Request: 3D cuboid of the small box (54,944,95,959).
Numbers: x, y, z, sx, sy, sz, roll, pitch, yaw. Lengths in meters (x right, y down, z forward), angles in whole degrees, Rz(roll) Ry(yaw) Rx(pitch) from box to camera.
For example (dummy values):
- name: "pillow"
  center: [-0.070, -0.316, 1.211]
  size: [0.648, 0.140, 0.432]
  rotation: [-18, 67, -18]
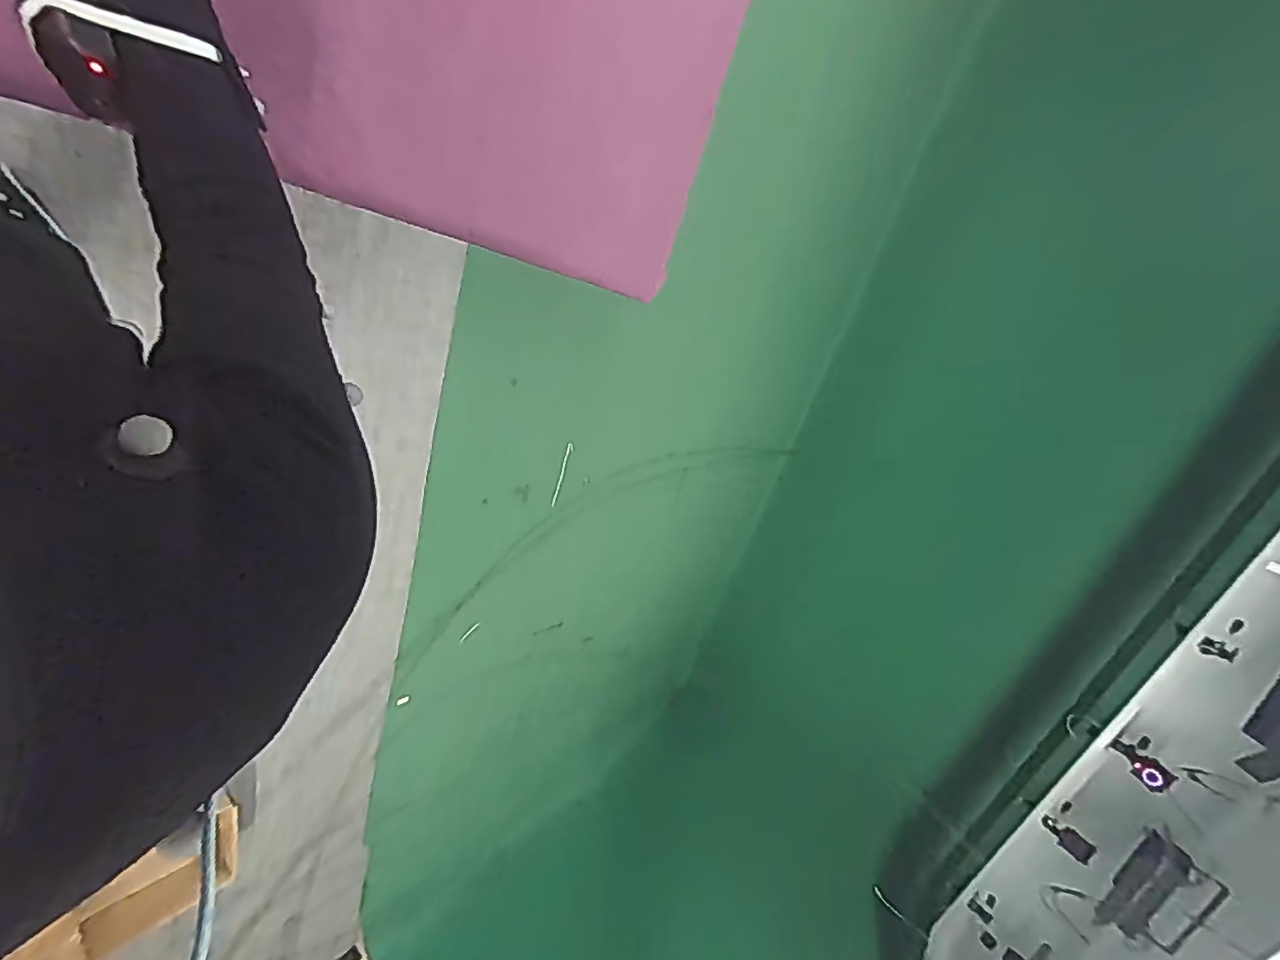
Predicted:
- name: "small box"
  center: [-1.484, 1.341, 1.370]
  size: [0.168, 0.176, 0.179]
  rotation: [-15, 129, -51]

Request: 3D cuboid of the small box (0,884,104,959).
- name: "small box"
  center: [-1.610, 1.255, 1.470]
  size: [0.168, 0.176, 0.179]
  rotation: [-21, 134, -49]
